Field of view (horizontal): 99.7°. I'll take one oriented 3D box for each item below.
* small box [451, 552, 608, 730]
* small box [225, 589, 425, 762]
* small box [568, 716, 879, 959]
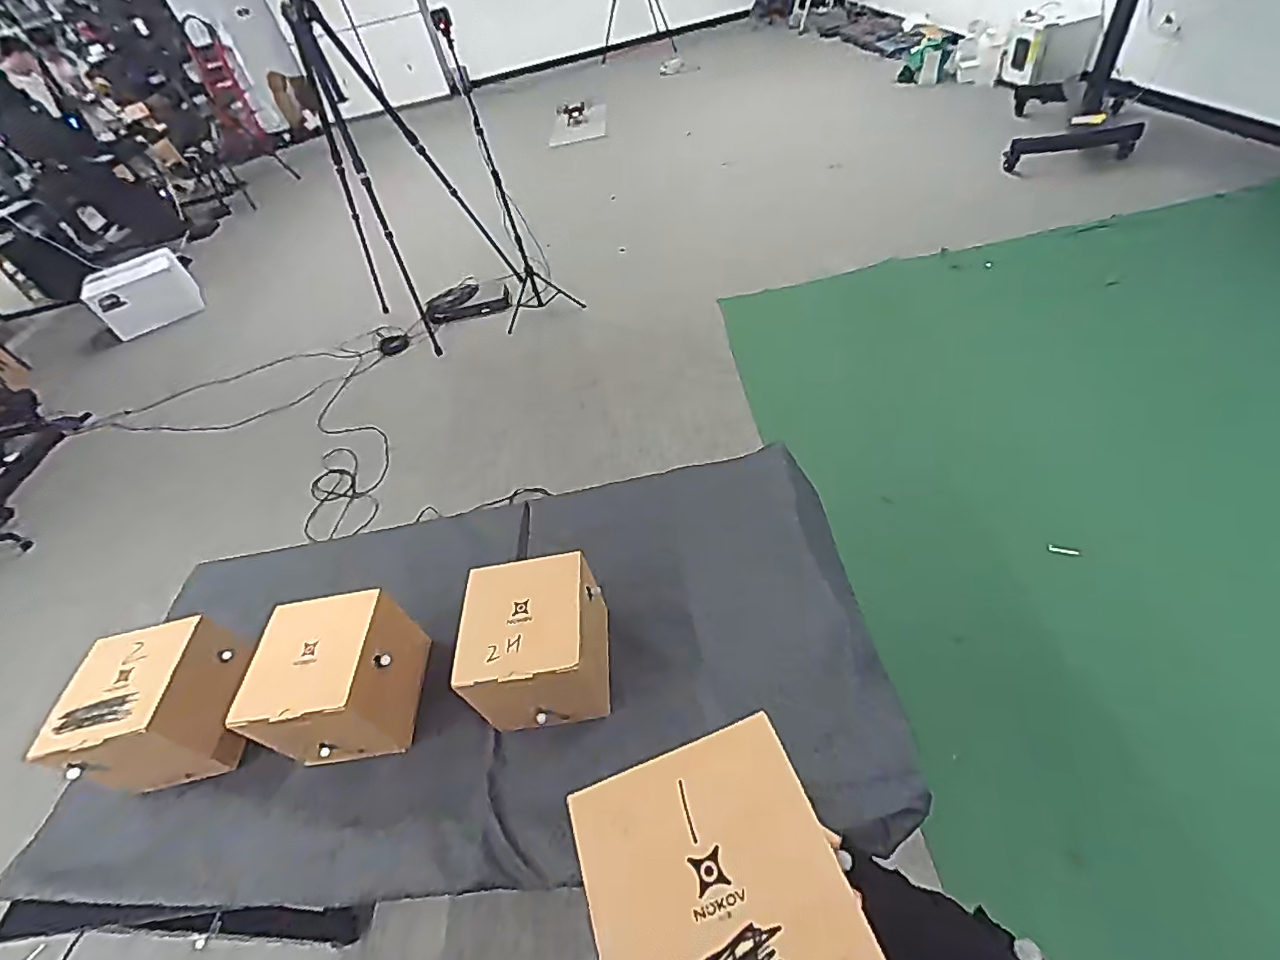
[{"bbox_3d":[-0.144,0.230,0.768,0.168,0.176,0.179,-10,47,5],"label":"small box"},{"bbox_3d":[-0.435,0.286,0.788,0.168,0.176,0.179,-10,47,4],"label":"small box"},{"bbox_3d":[0.063,0.317,0.413,0.168,0.176,0.179,-21,48,-3],"label":"small box"}]
